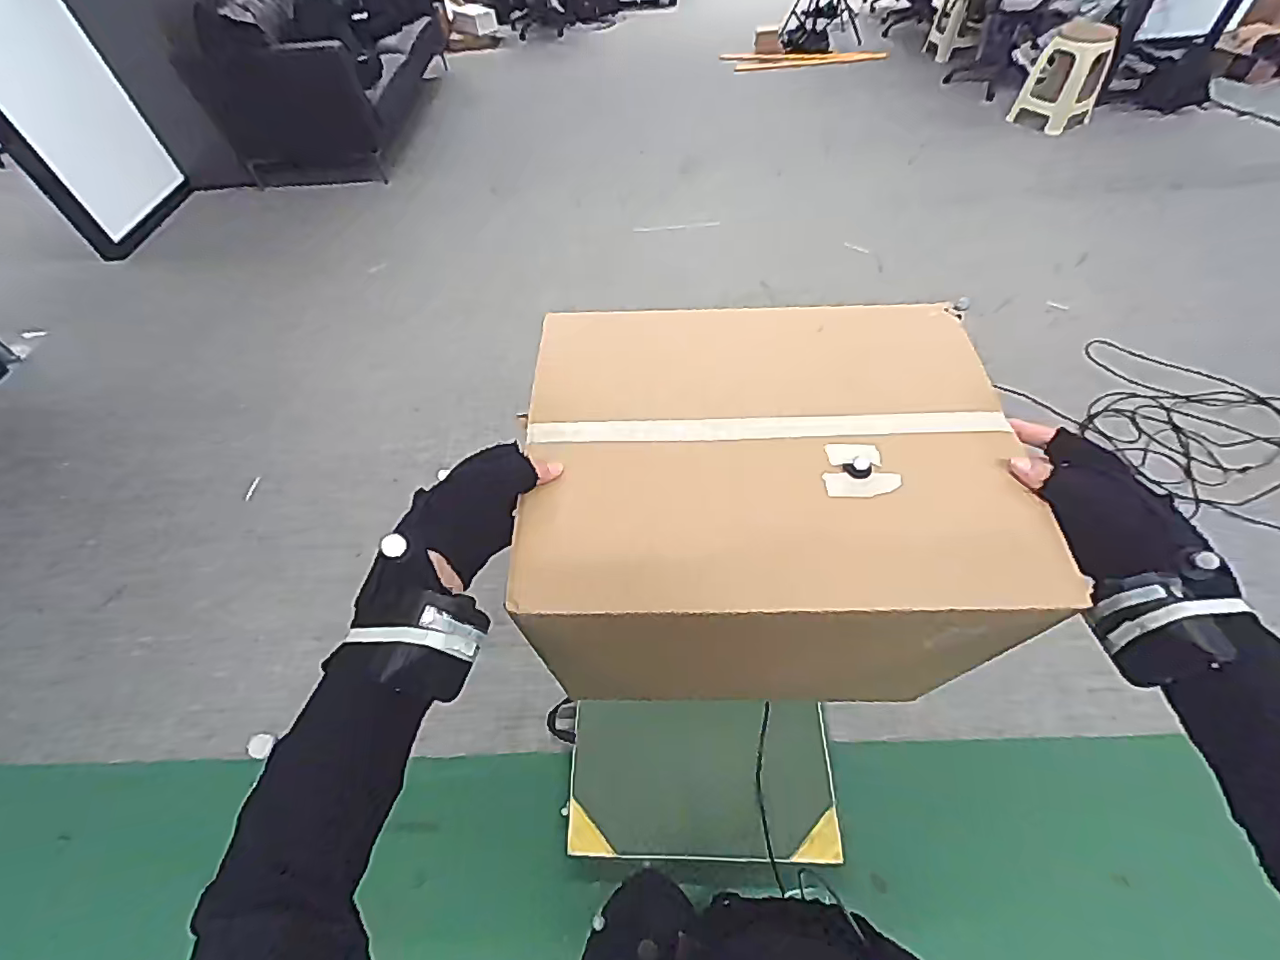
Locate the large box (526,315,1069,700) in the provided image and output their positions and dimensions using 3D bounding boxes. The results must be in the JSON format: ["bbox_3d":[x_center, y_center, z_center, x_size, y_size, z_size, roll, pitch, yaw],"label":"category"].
[{"bbox_3d":[0.113,0.045,0.594,0.408,0.320,0.320,-1,57,1],"label":"large box"}]
